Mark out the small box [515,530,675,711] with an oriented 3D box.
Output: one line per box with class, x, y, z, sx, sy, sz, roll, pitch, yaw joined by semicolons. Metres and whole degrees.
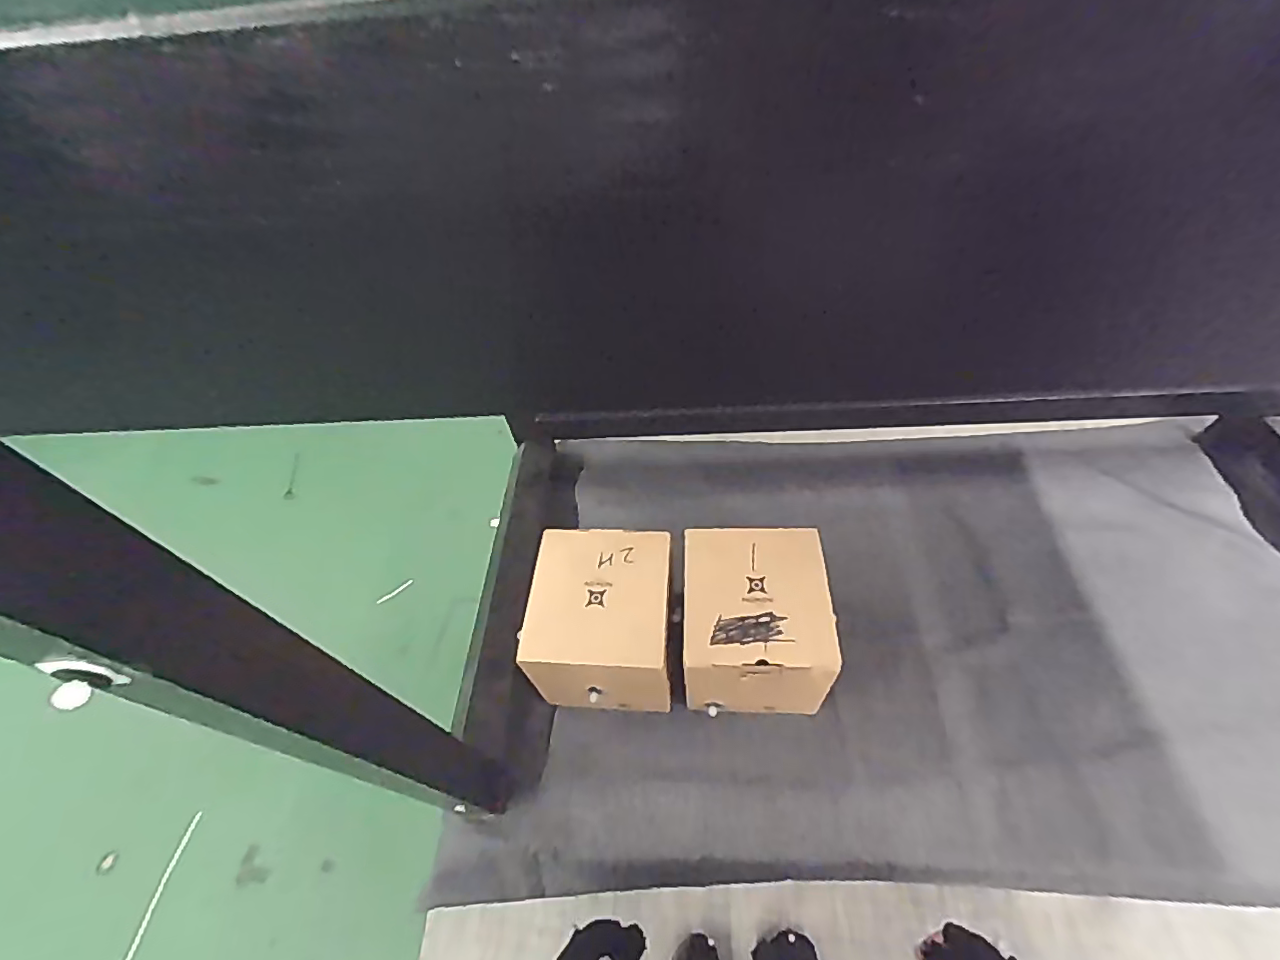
small box;-0.043;0.183;0.692;0.168;0.176;0.179;1;52;6
